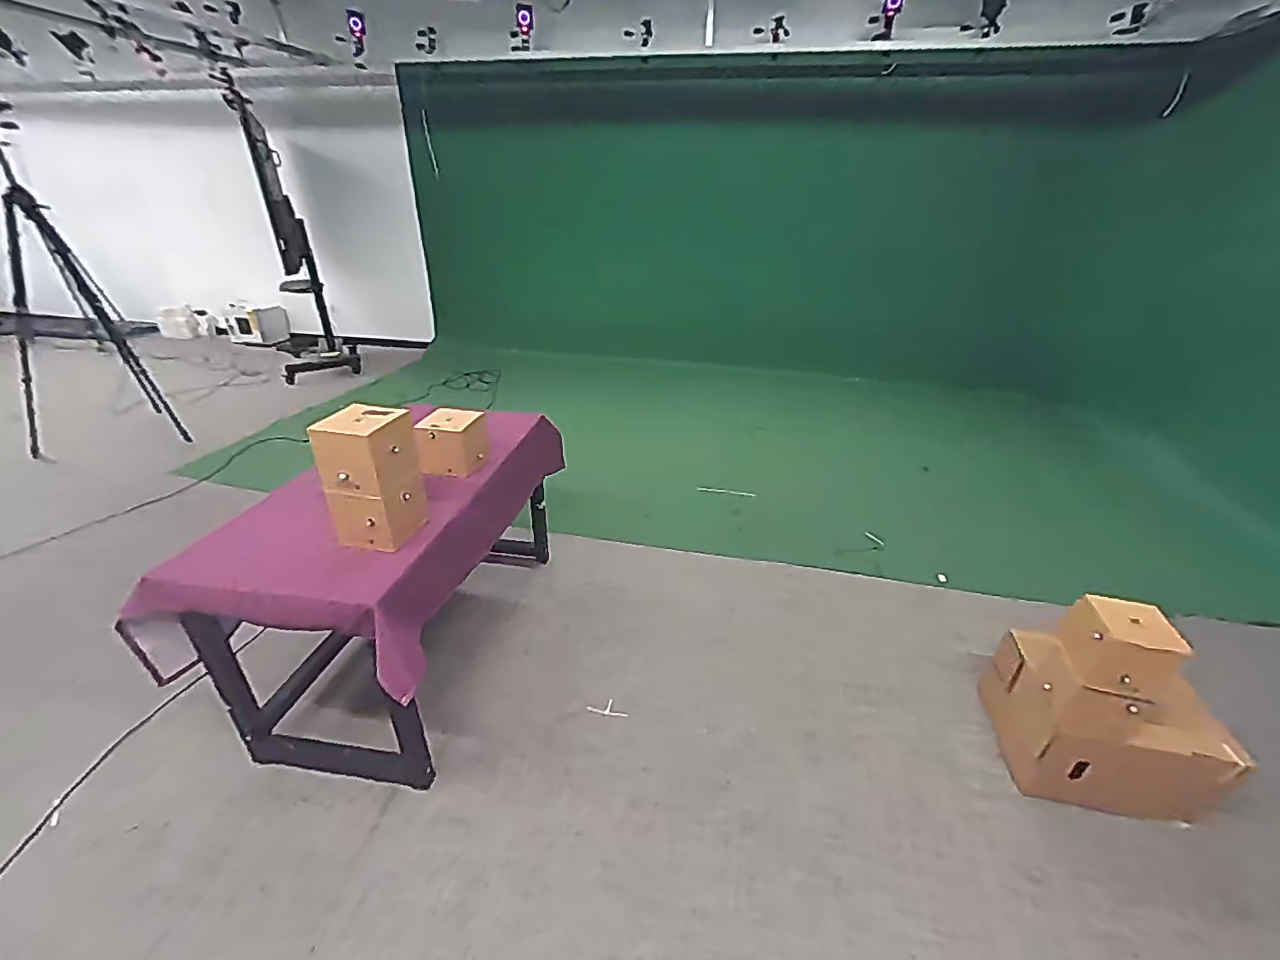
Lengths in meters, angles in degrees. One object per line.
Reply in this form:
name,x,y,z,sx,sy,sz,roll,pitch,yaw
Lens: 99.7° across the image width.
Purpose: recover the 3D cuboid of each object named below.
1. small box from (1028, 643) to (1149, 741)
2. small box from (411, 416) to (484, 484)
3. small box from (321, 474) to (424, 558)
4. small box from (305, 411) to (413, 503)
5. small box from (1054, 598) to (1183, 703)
small box,1.214,0.580,1.480,0.179,0.176,0.168,8,29,11
small box,-0.637,-0.103,1.814,0.168,0.176,0.179,6,27,10
small box,-0.702,0.089,1.444,0.168,0.176,0.179,7,27,10
small box,-0.701,-0.059,1.374,0.168,0.176,0.179,7,29,10
small box,1.221,0.438,1.400,0.168,0.176,0.179,9,30,12
